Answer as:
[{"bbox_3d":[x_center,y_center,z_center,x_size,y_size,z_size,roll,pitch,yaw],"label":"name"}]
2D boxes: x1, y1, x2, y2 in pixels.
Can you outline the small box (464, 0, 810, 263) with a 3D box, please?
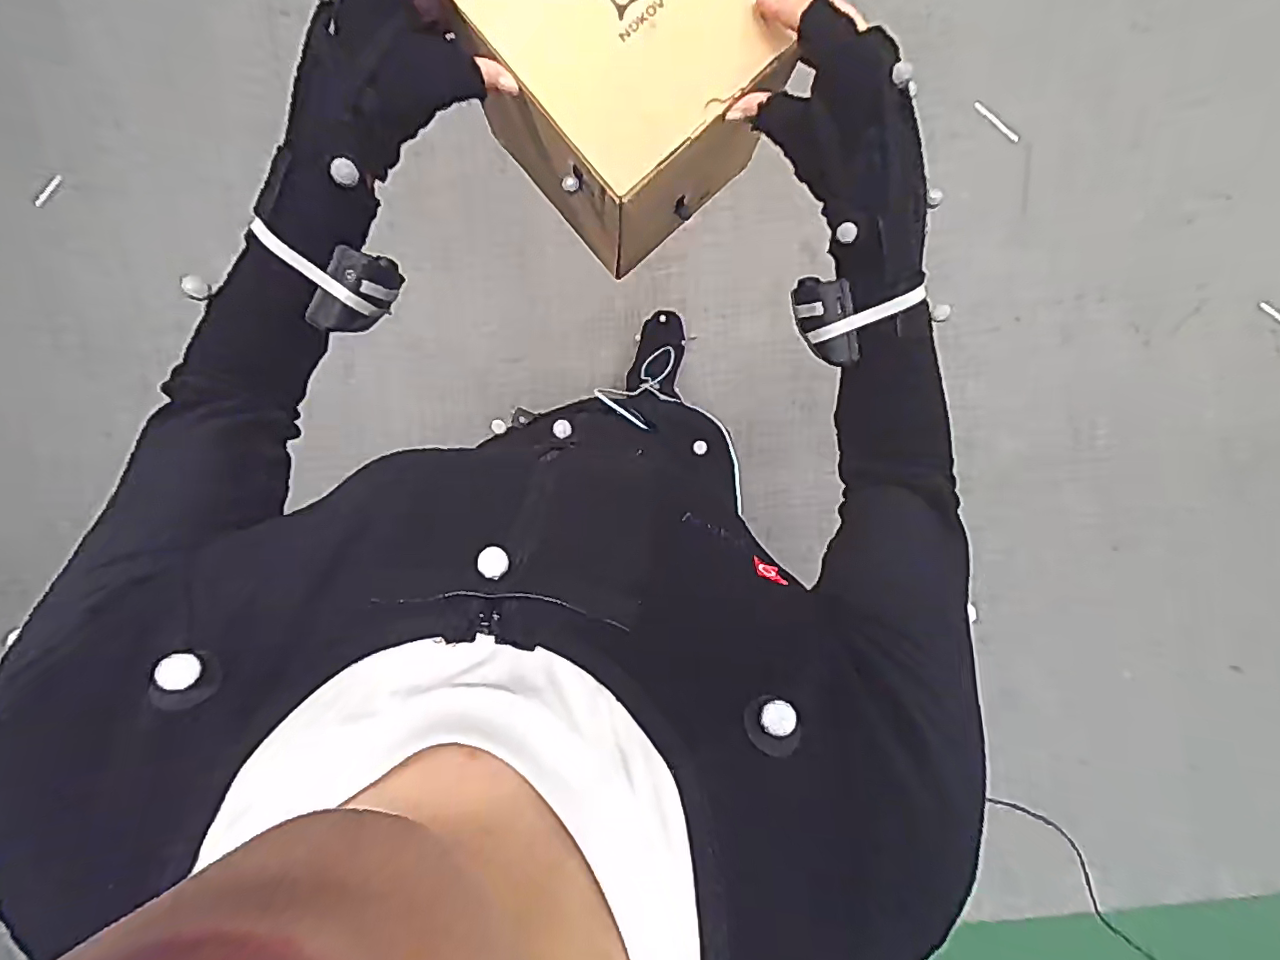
[{"bbox_3d":[-0.010,-0.308,0.423,0.168,0.176,0.179,-42,96,0],"label":"small box"}]
